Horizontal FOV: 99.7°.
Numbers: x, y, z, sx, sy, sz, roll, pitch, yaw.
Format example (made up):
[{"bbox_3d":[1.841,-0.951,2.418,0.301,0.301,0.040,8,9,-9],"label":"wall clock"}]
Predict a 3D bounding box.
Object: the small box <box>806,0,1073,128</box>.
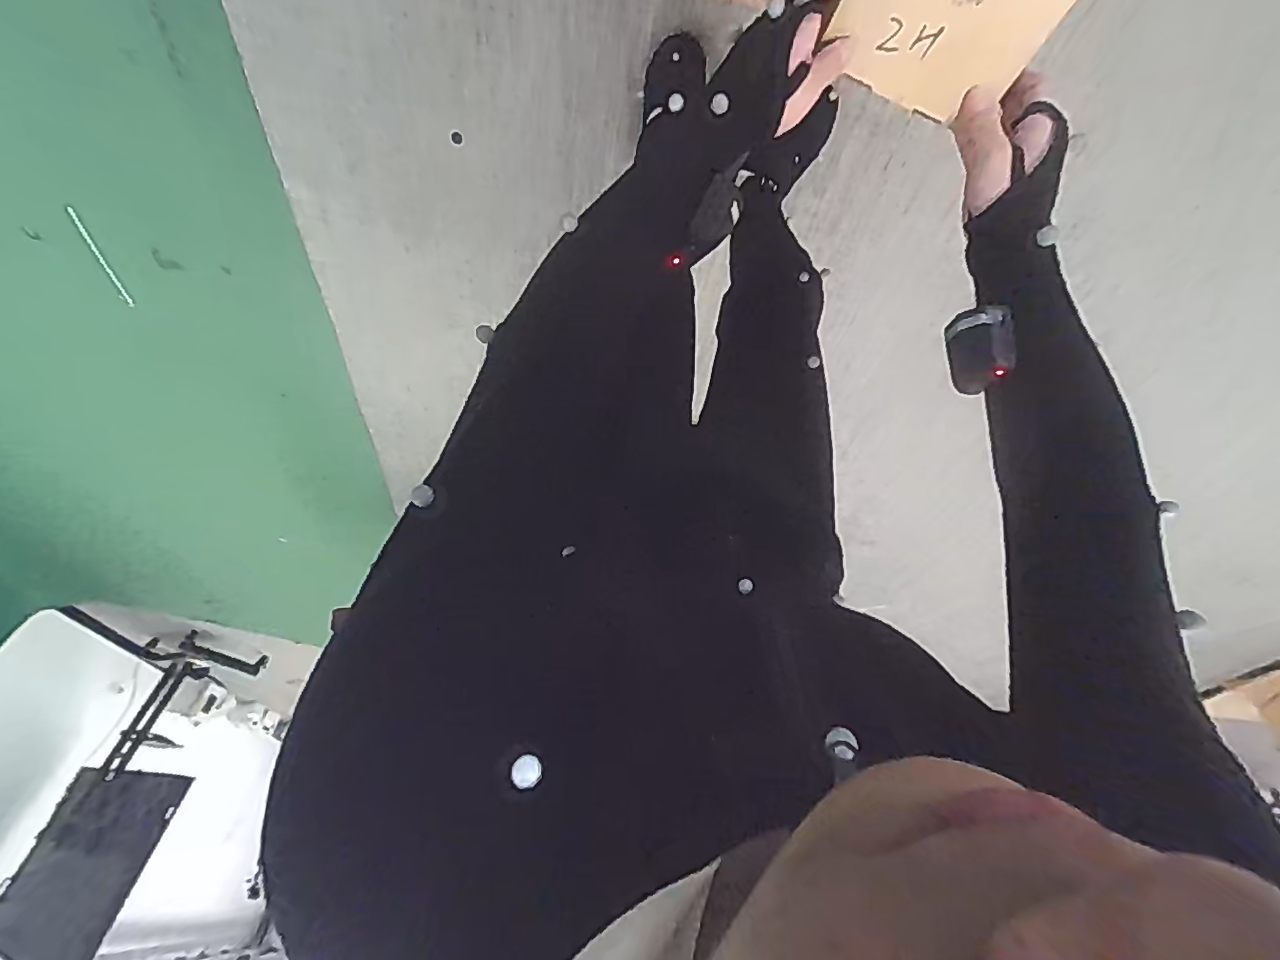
[{"bbox_3d":[0.254,-0.444,0.445,0.168,0.176,0.179,16,141,-13],"label":"small box"}]
